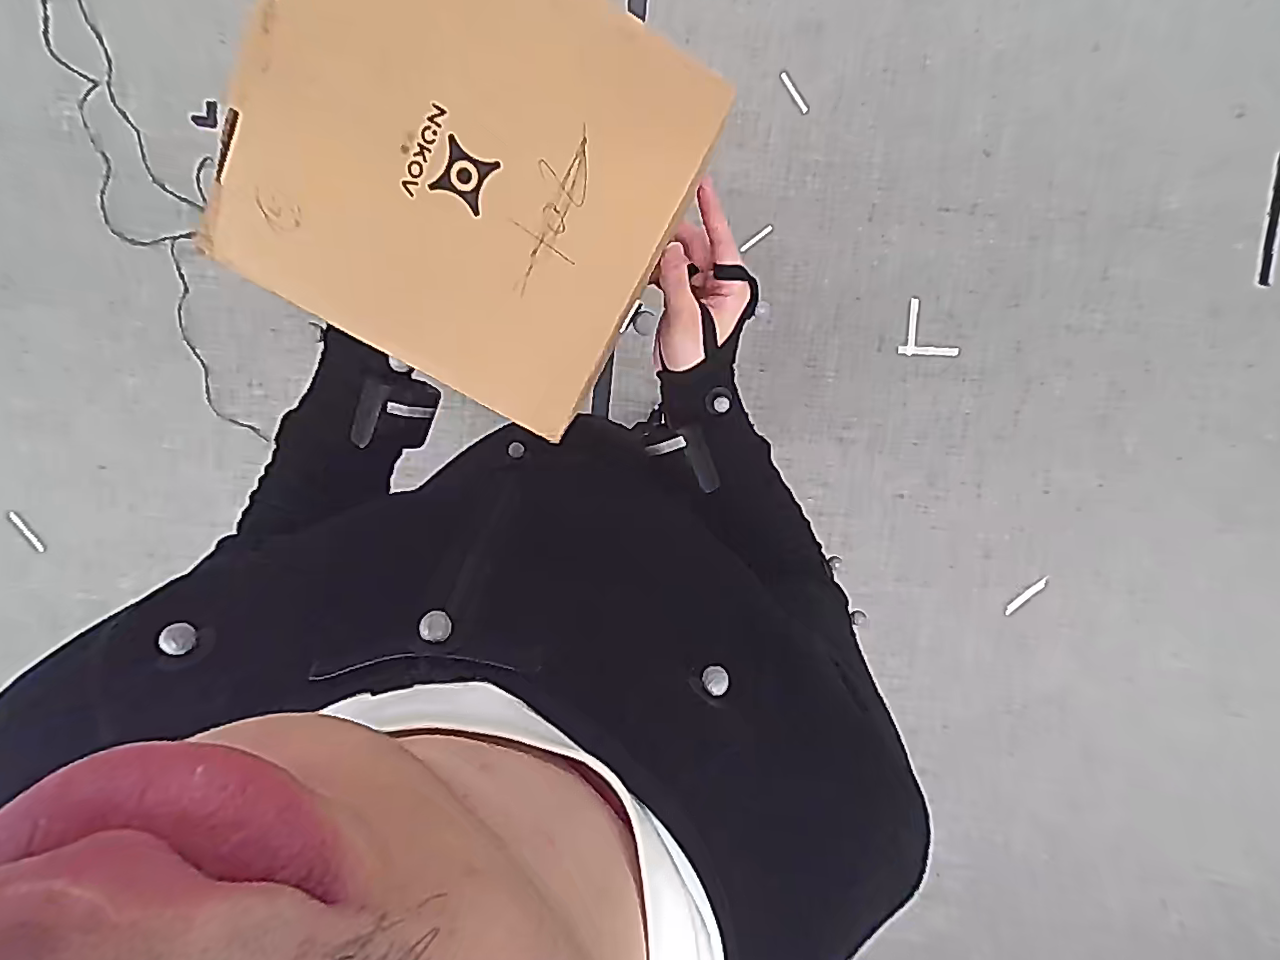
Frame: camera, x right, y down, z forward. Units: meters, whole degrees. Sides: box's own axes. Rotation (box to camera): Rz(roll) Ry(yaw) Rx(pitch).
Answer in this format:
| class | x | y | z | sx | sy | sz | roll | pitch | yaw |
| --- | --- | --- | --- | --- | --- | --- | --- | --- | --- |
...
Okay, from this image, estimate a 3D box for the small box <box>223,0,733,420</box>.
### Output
| class | x | y | z | sx | sy | sz | roll | pitch | yaw |
| --- | --- | --- | --- | --- | --- | --- | --- | --- | --- |
| small box | -0.074 | -0.155 | 0.311 | 0.179 | 0.176 | 0.168 | 27 | 104 | -8 |
